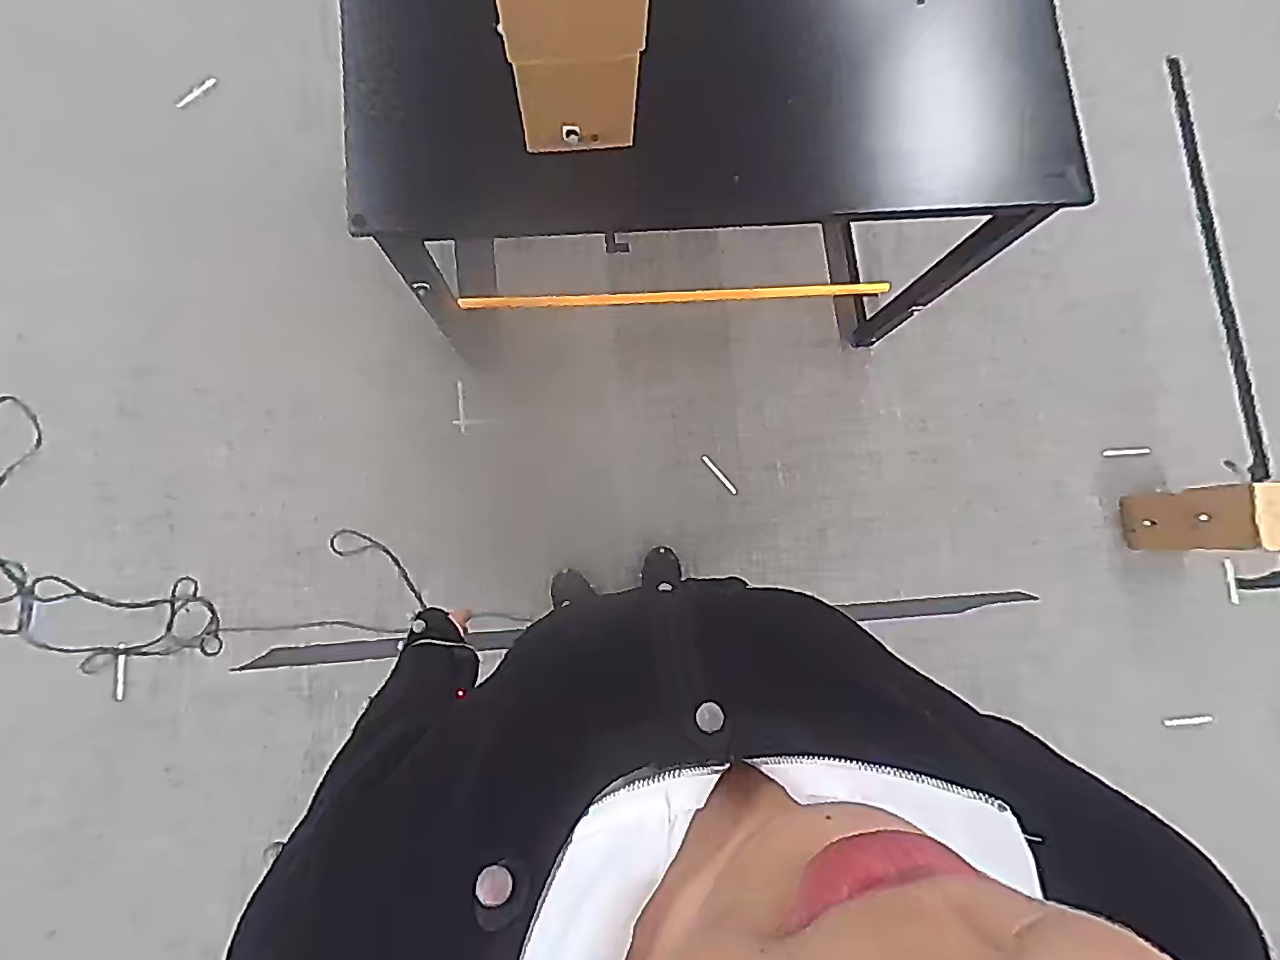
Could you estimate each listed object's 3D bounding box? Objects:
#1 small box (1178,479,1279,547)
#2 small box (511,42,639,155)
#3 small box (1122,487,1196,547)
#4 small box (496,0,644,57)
[{"bbox_3d":[1.564,0.088,1.399,0.179,0.176,0.168,0,83,-4],"label":"small box"},{"bbox_3d":[-0.100,-0.611,0.779,0.168,0.176,0.179,-9,85,-5],"label":"small box"},{"bbox_3d":[1.548,0.106,1.563,0.179,0.176,0.168,-5,84,-4],"label":"small box"},{"bbox_3d":[-0.089,-0.626,0.615,0.179,0.176,0.168,-9,84,-5],"label":"small box"}]
